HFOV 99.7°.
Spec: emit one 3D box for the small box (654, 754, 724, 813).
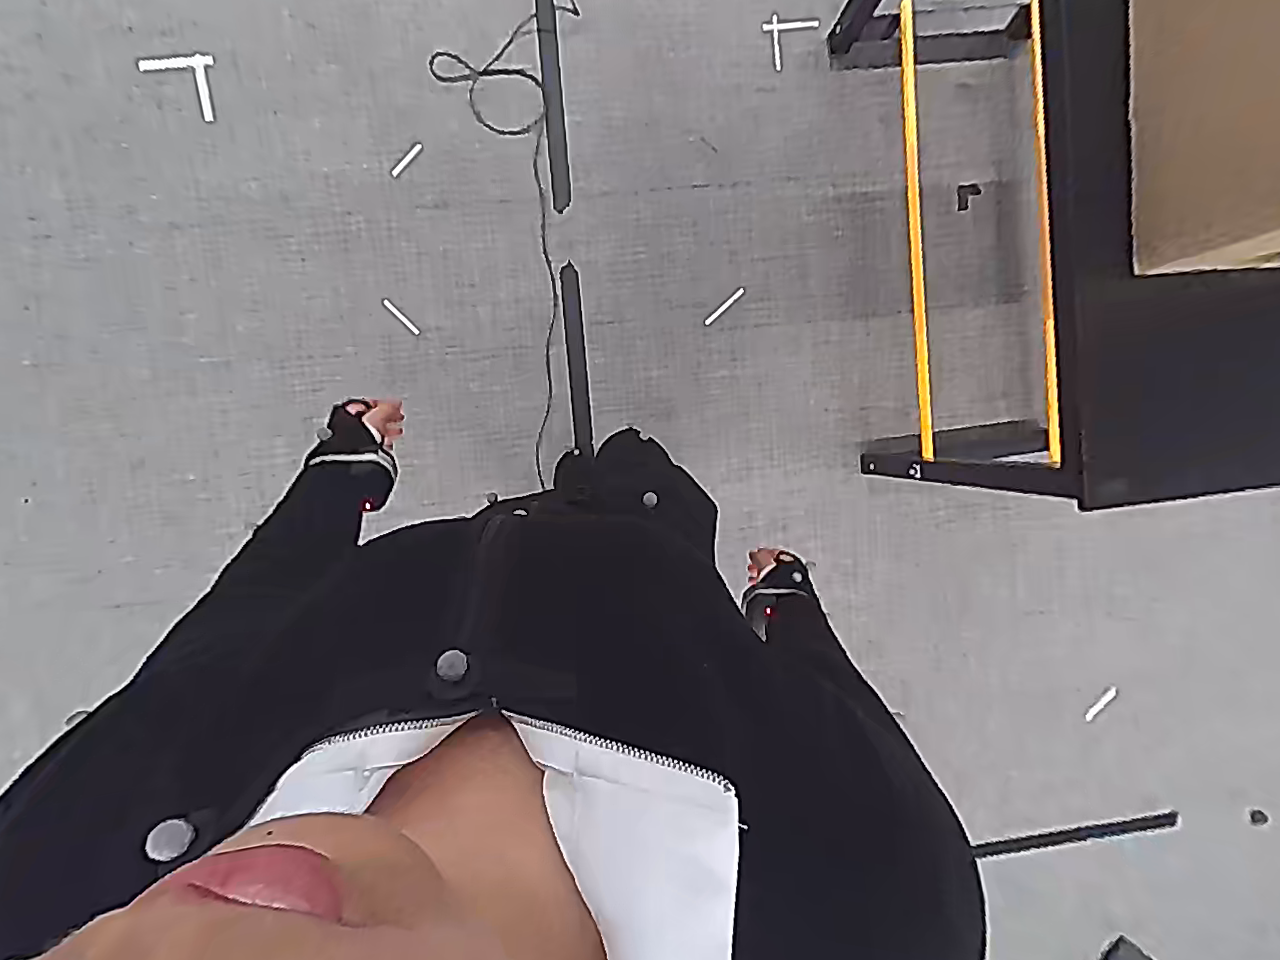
[{"bbox_3d":[0.136,0.897,1.491,0.168,0.176,0.179,-10,94,-5],"label":"small box"}]
